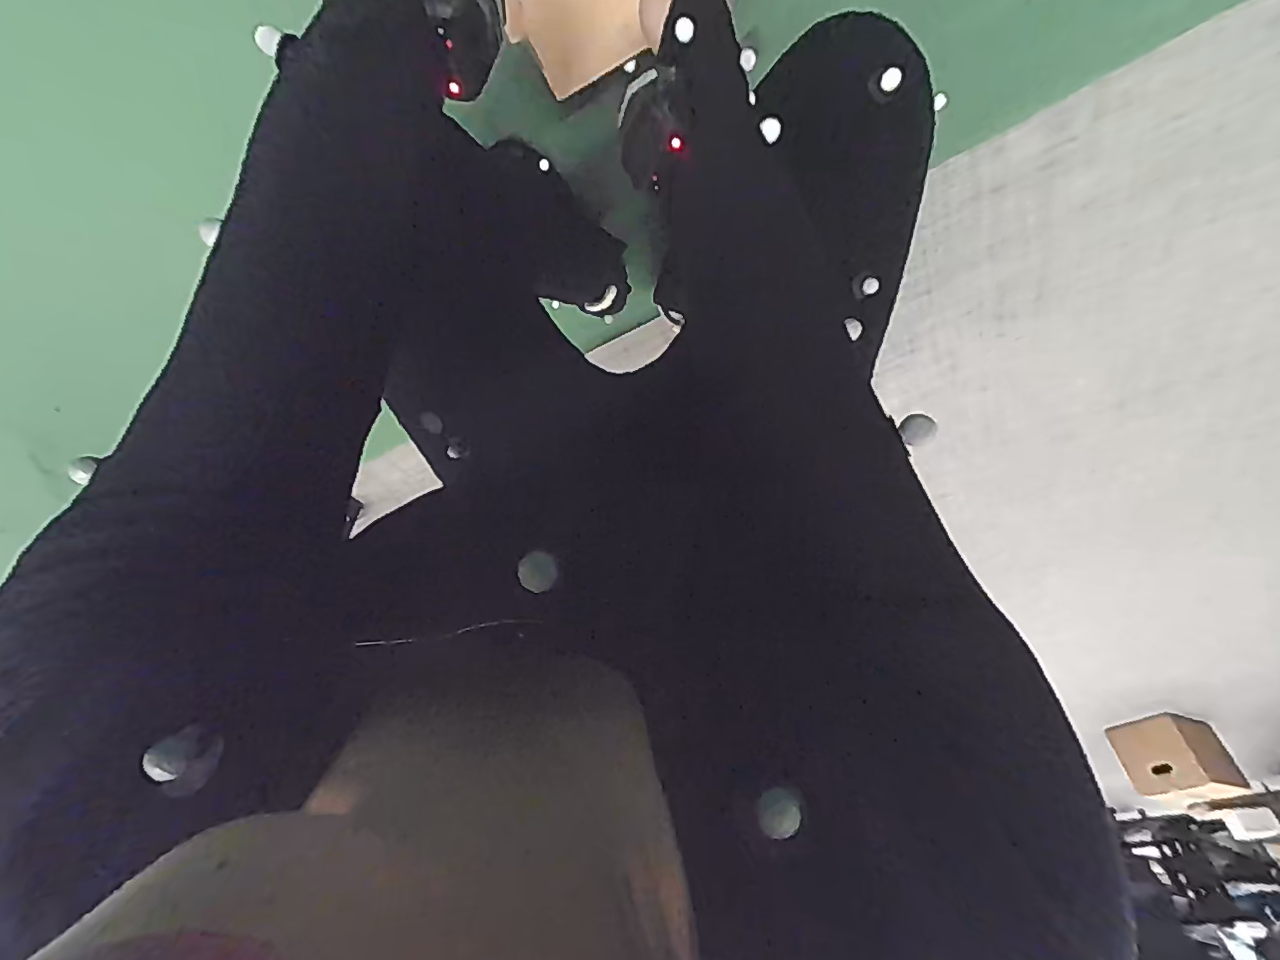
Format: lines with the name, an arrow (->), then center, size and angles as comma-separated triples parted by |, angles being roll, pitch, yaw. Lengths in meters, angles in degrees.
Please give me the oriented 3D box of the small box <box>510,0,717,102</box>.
small box -> -0.041, -0.523, 0.528 | 0.179, 0.176, 0.168 | -18, 136, 18
